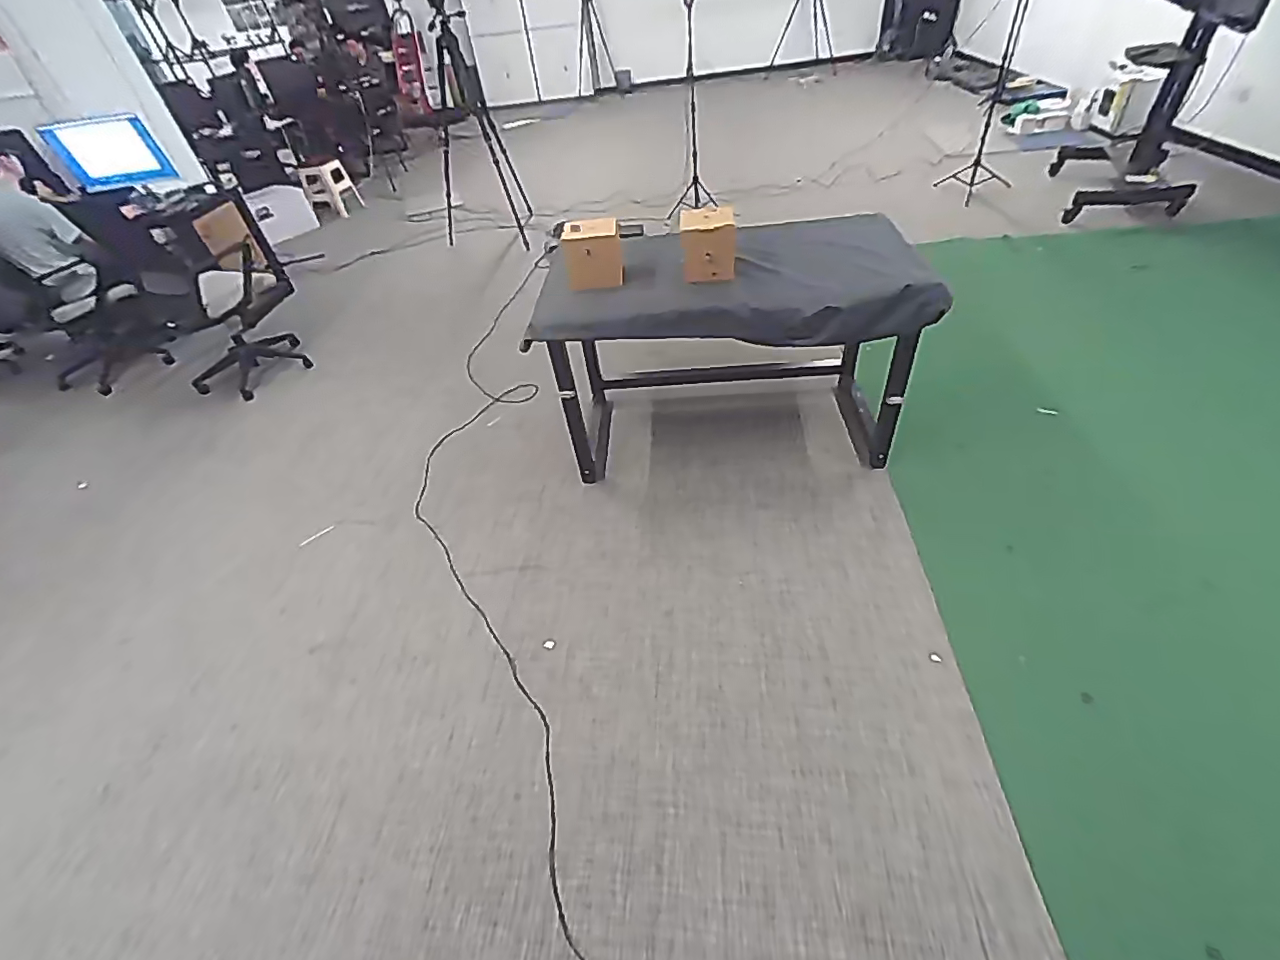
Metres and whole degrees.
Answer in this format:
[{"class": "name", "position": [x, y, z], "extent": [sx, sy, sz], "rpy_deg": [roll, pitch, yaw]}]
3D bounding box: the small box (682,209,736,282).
[{"class": "small box", "position": [0.224, -0.750, 1.744], "extent": [0.168, 0.176, 0.179], "rpy_deg": [-1, 44, 8]}]

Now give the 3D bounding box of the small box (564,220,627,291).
[{"class": "small box", "position": [-0.143, -0.742, 1.793], "extent": [0.179, 0.176, 0.168], "rpy_deg": [-4, 44, 4]}]
